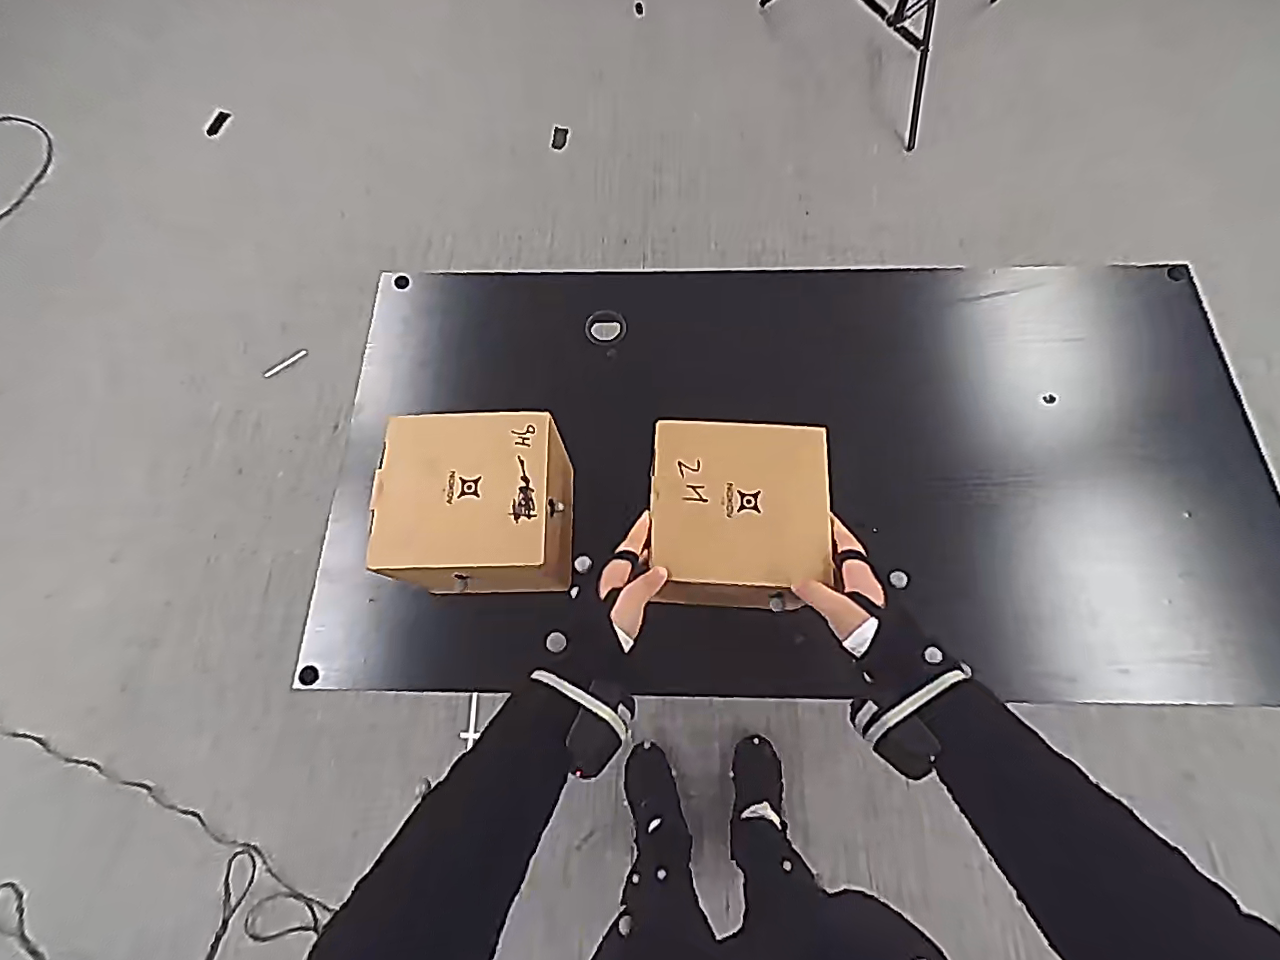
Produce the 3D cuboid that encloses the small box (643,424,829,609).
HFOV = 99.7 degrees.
[{"bbox_3d":[0.097,0.050,0.605,0.179,0.176,0.168,3,70,3],"label":"small box"}]

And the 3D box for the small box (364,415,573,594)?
[{"bbox_3d":[-0.179,0.037,0.622,0.179,0.176,0.168,-2,70,2],"label":"small box"}]
